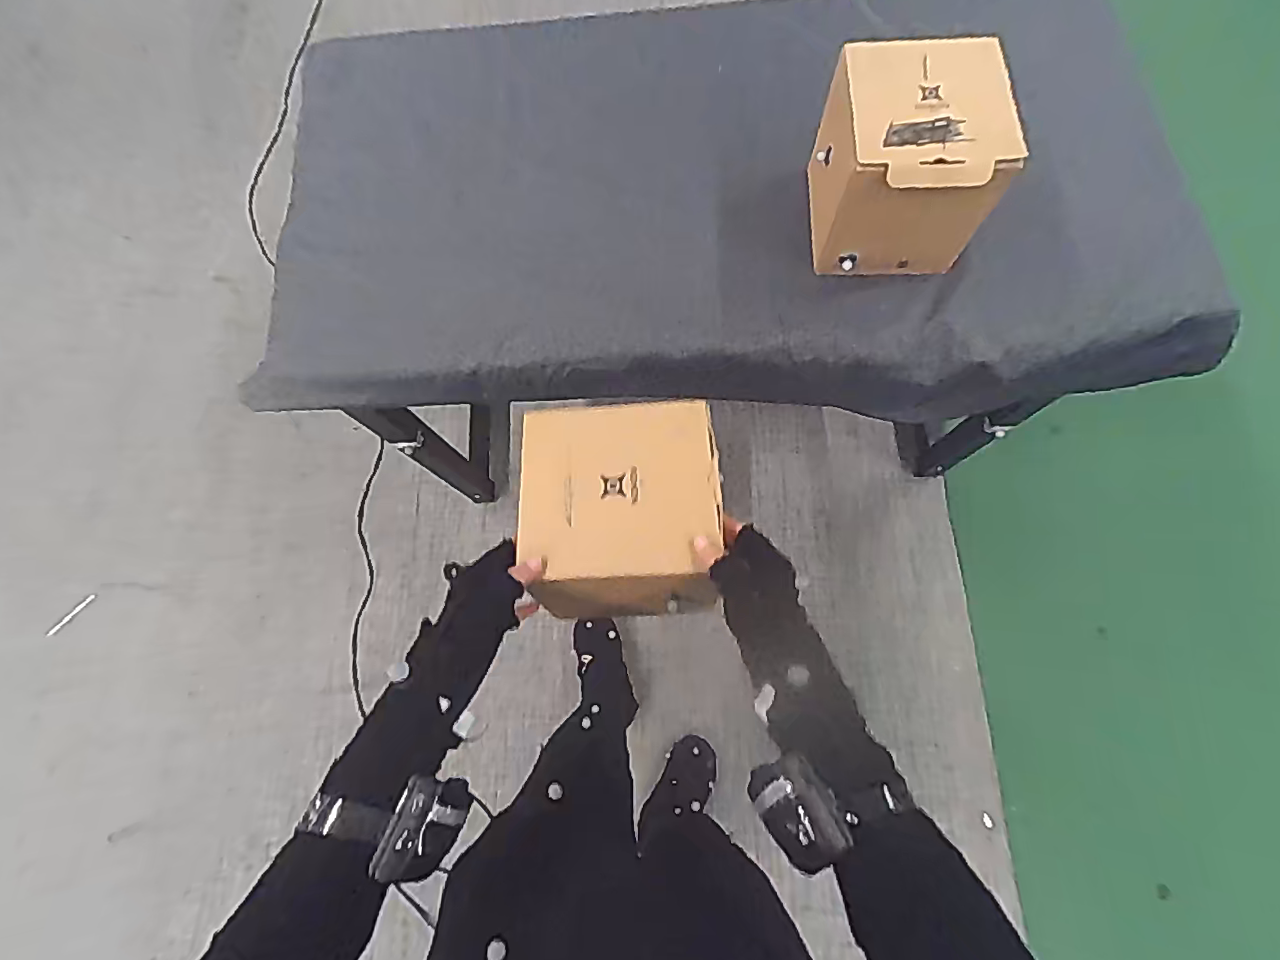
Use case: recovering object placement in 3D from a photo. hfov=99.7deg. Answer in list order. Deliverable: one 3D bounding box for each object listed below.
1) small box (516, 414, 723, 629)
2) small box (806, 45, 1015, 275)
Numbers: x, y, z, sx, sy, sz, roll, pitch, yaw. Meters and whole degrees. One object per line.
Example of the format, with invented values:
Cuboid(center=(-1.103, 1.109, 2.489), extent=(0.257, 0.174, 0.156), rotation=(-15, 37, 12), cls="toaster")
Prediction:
Cuboid(center=(-0.016, 0.052, 0.554), extent=(0.179, 0.176, 0.168), rotation=(-5, 63, 3), cls="small box")
Cuboid(center=(0.300, -0.364, 0.641), extent=(0.168, 0.176, 0.179), rotation=(1, 72, 4), cls="small box")
